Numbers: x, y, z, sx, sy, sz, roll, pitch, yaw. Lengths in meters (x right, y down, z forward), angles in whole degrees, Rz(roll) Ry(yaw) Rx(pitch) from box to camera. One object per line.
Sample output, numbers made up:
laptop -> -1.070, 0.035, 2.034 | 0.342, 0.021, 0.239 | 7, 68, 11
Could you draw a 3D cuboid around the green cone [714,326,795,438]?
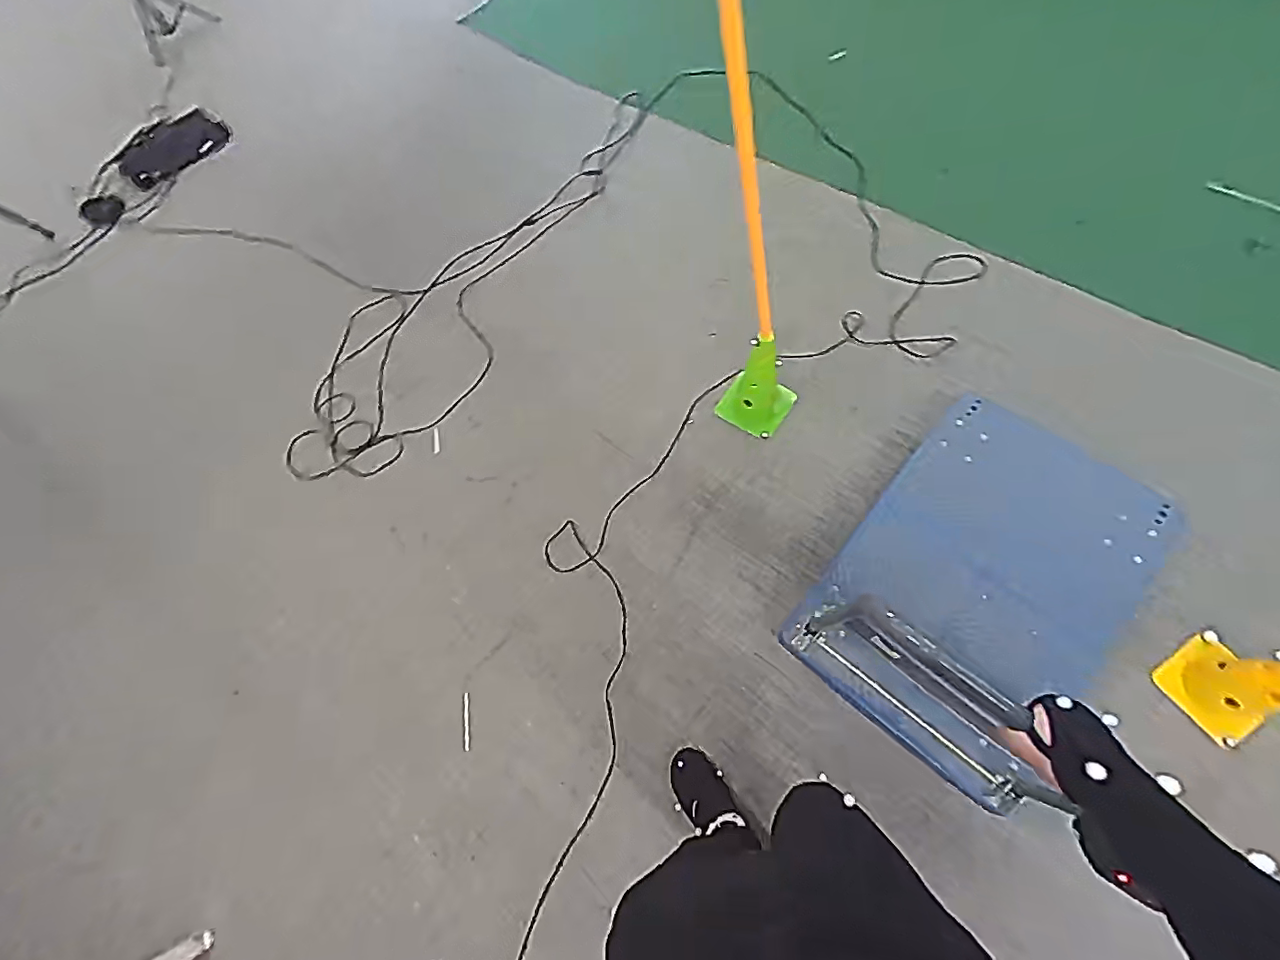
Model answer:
green cone -> 0.341, -0.314, 1.558 | 0.202, 0.368, 0.200 | 30, 74, 19
